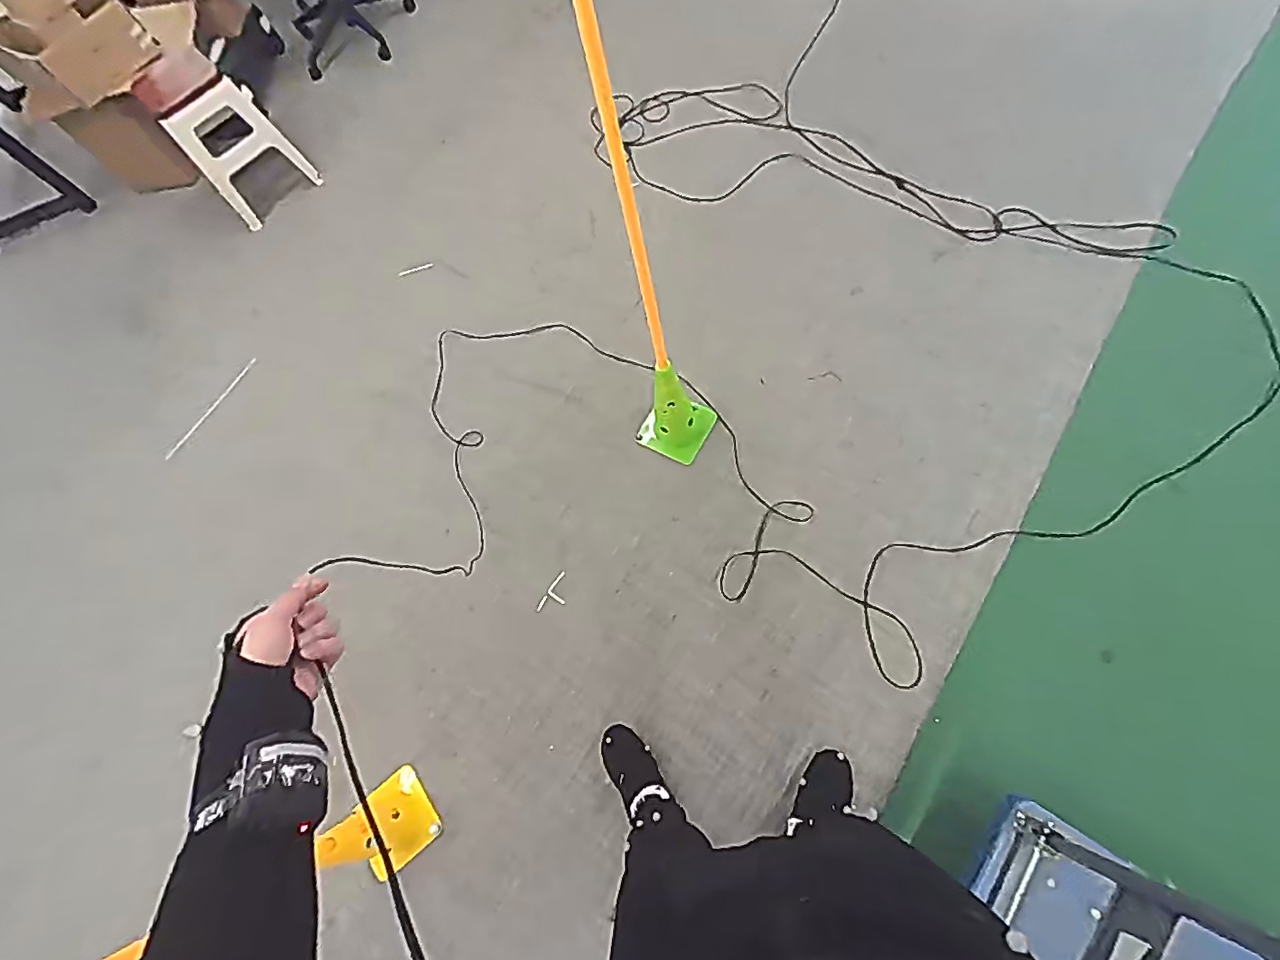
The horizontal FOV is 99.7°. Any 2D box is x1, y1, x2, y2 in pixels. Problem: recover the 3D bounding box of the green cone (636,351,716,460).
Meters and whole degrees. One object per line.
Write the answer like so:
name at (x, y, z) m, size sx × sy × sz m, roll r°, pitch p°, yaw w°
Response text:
green cone at (0.087, -0.238, 1.516) m, size 0.200 × 0.368 × 0.202 m, roll 26°, pitch 74°, yaw 17°
